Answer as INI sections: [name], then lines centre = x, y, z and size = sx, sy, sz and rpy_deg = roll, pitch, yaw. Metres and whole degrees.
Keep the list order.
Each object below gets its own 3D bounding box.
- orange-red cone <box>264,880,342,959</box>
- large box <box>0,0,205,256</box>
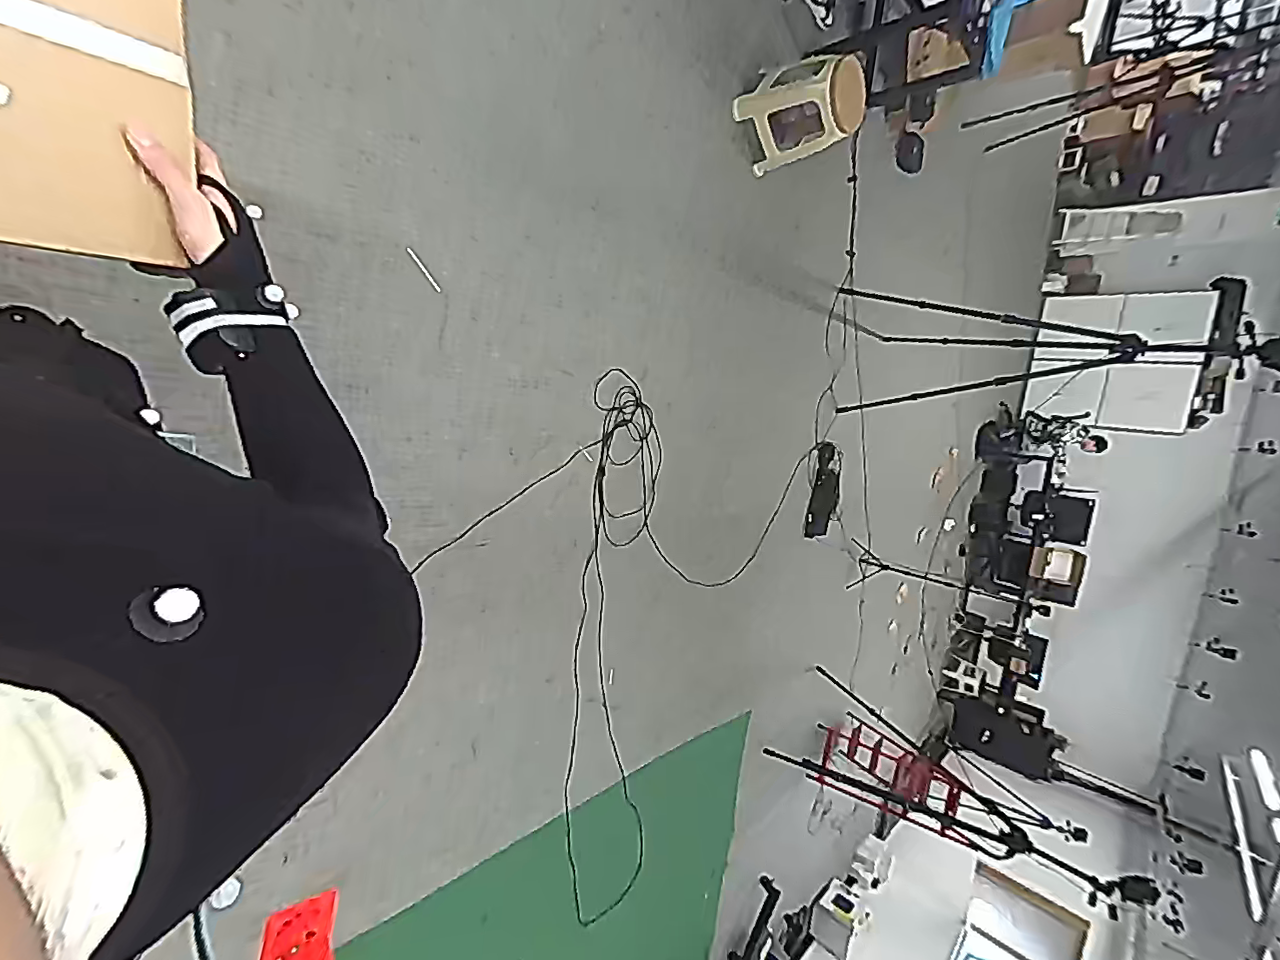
[orange-red cone]
centre = -0.938, 1.422, 1.598
size = 0.199, 0.360, 0.198
rpy_deg = 9, 95, -49
[large box]
centre = -0.627, -0.371, 0.403
size = 0.408, 0.320, 0.320
rpy_deg = -11, 117, -49
